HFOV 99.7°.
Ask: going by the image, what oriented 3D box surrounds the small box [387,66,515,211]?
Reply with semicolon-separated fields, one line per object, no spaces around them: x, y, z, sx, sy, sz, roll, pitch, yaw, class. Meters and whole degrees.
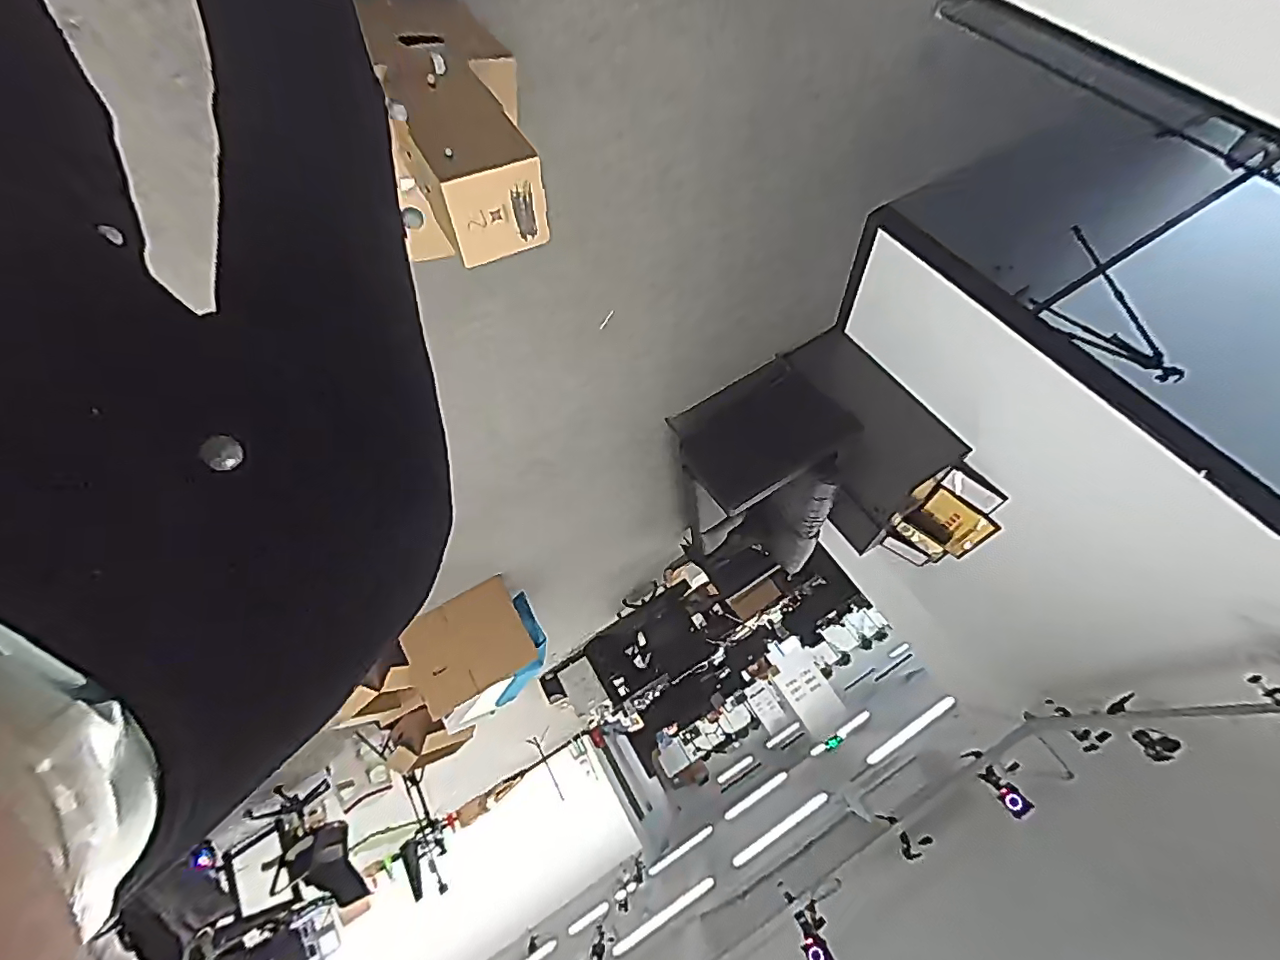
-0.366;-0.660;1.044;0.179;0.176;0.168;-26;155;-17;small box
